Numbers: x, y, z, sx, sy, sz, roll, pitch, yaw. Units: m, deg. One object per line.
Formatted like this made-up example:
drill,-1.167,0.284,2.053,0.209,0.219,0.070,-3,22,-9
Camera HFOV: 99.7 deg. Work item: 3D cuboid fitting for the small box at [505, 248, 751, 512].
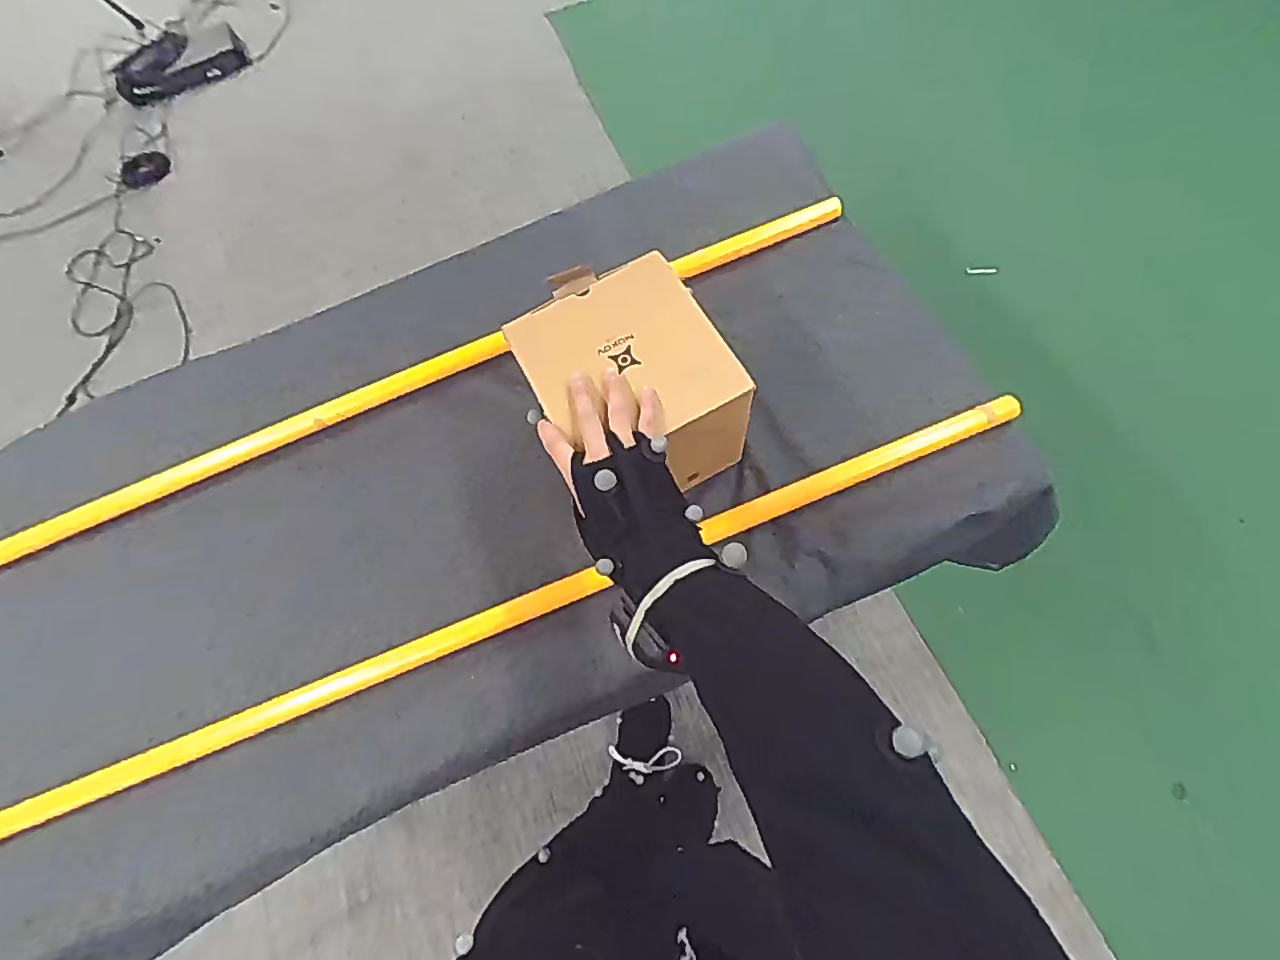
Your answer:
small box,-0.005,-0.083,0.546,0.168,0.176,0.179,-28,69,-4
